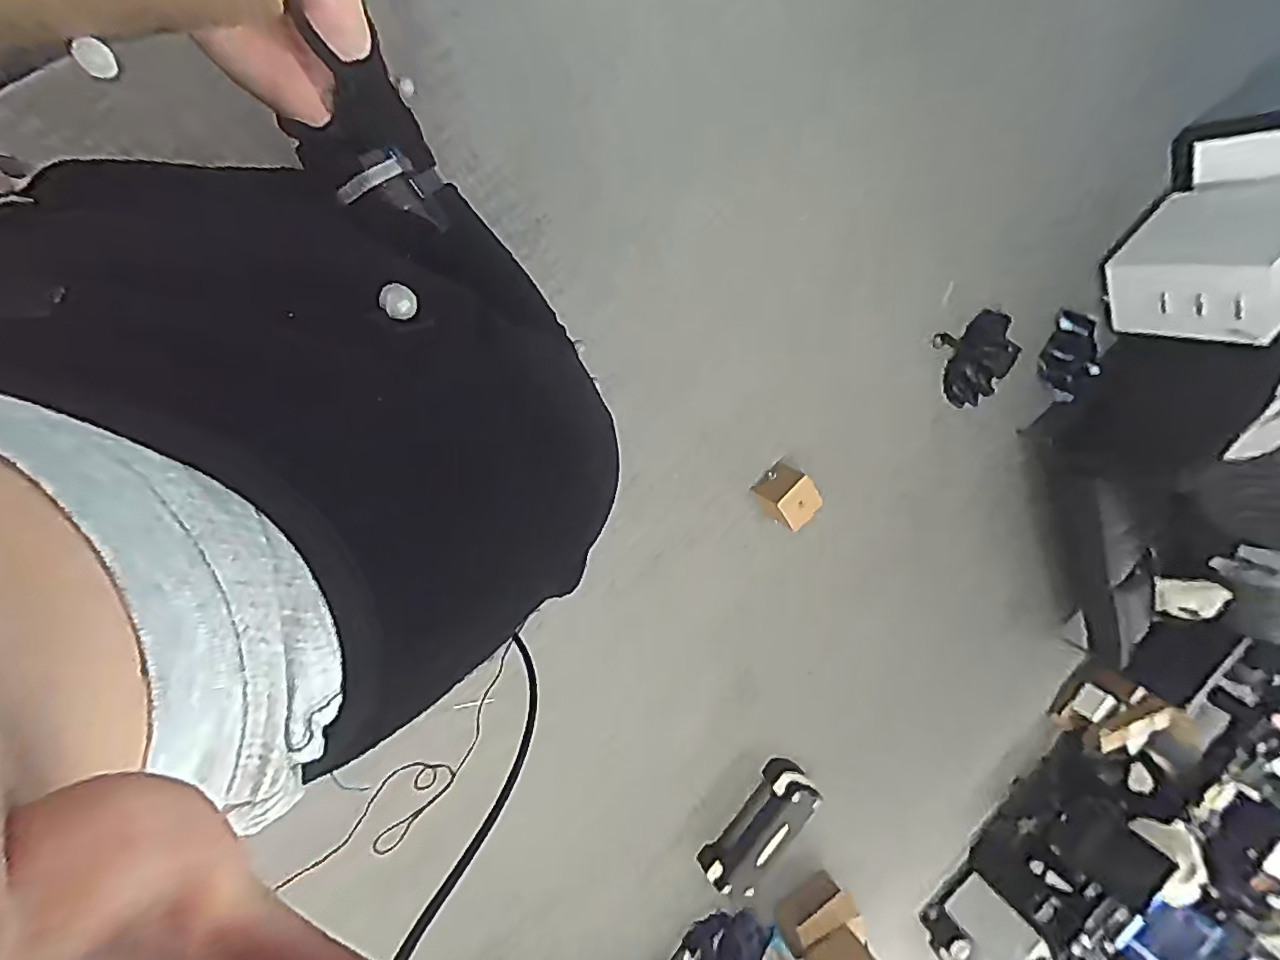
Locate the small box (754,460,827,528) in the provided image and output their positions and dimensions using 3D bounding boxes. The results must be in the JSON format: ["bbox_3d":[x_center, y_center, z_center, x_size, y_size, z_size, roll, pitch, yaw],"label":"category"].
[{"bbox_3d":[0.572,0.047,2.068,0.168,0.176,0.179,-47,122,-6],"label":"small box"}]
